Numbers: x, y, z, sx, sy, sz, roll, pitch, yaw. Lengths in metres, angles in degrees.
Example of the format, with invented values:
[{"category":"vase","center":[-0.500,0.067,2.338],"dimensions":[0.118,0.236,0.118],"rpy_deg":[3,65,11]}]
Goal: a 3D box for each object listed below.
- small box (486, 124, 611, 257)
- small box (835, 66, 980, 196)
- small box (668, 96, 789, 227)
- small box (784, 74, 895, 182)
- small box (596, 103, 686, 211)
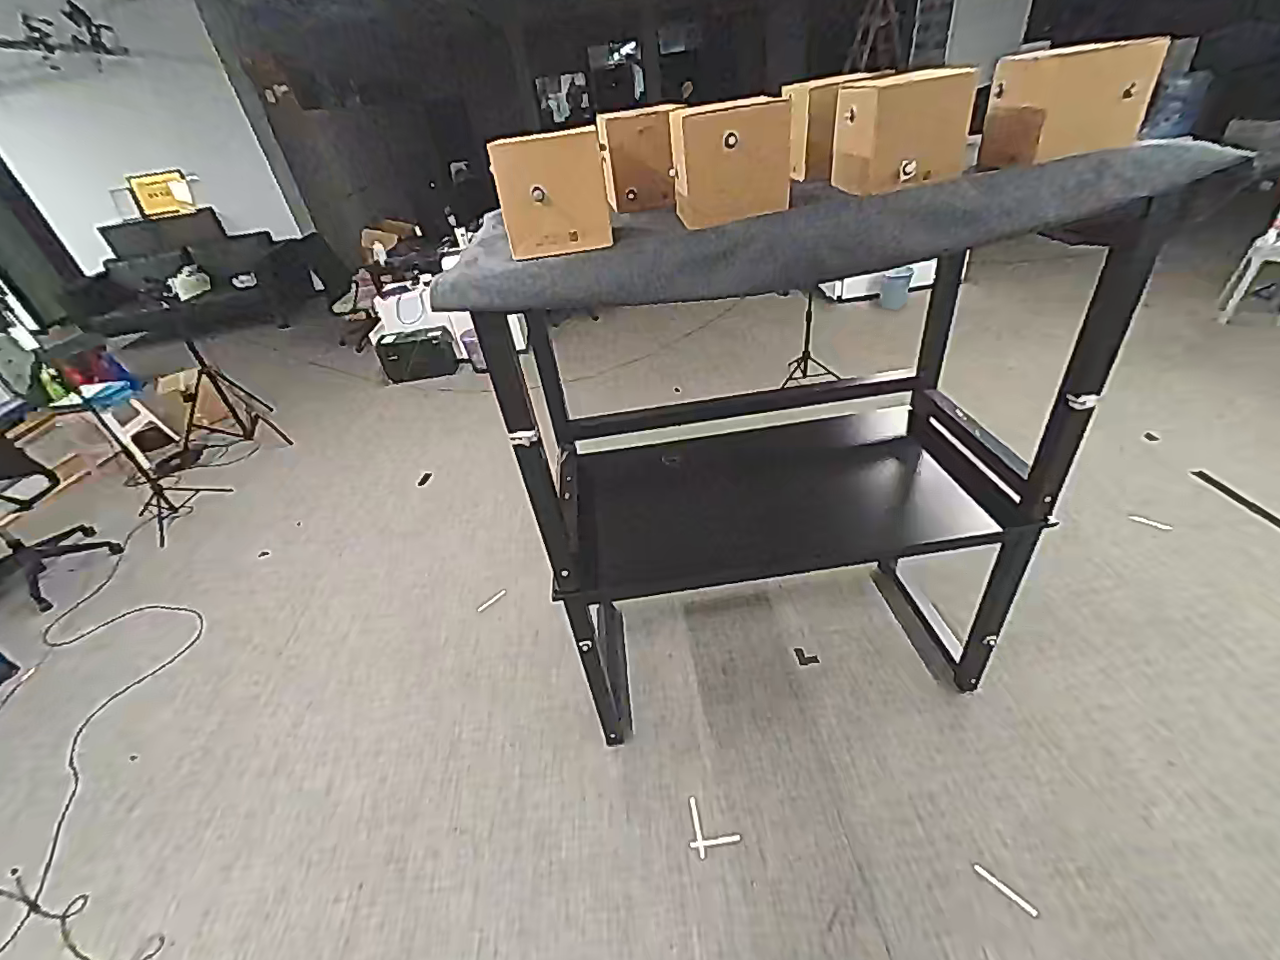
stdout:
[{"category":"small box","center":[-0.143,-0.481,0.904],"dimensions":[0.168,0.176,0.179],"rpy_deg":[-9,34,0]},{"category":"small box","center":[0.456,-0.613,0.958],"dimensions":[0.168,0.176,0.179],"rpy_deg":[-9,35,2]},{"category":"small box","center":[0.150,-0.548,0.934],"dimensions":[0.179,0.176,0.168],"rpy_deg":[-8,36,1]},{"category":"small box","center":[0.409,-0.749,1.151],"dimensions":[0.179,0.176,0.168],"rpy_deg":[-9,35,-1]},{"category":"small box","center":[0.008,-0.678,1.139],"dimensions":[0.168,0.176,0.179],"rpy_deg":[-11,36,-3]}]
